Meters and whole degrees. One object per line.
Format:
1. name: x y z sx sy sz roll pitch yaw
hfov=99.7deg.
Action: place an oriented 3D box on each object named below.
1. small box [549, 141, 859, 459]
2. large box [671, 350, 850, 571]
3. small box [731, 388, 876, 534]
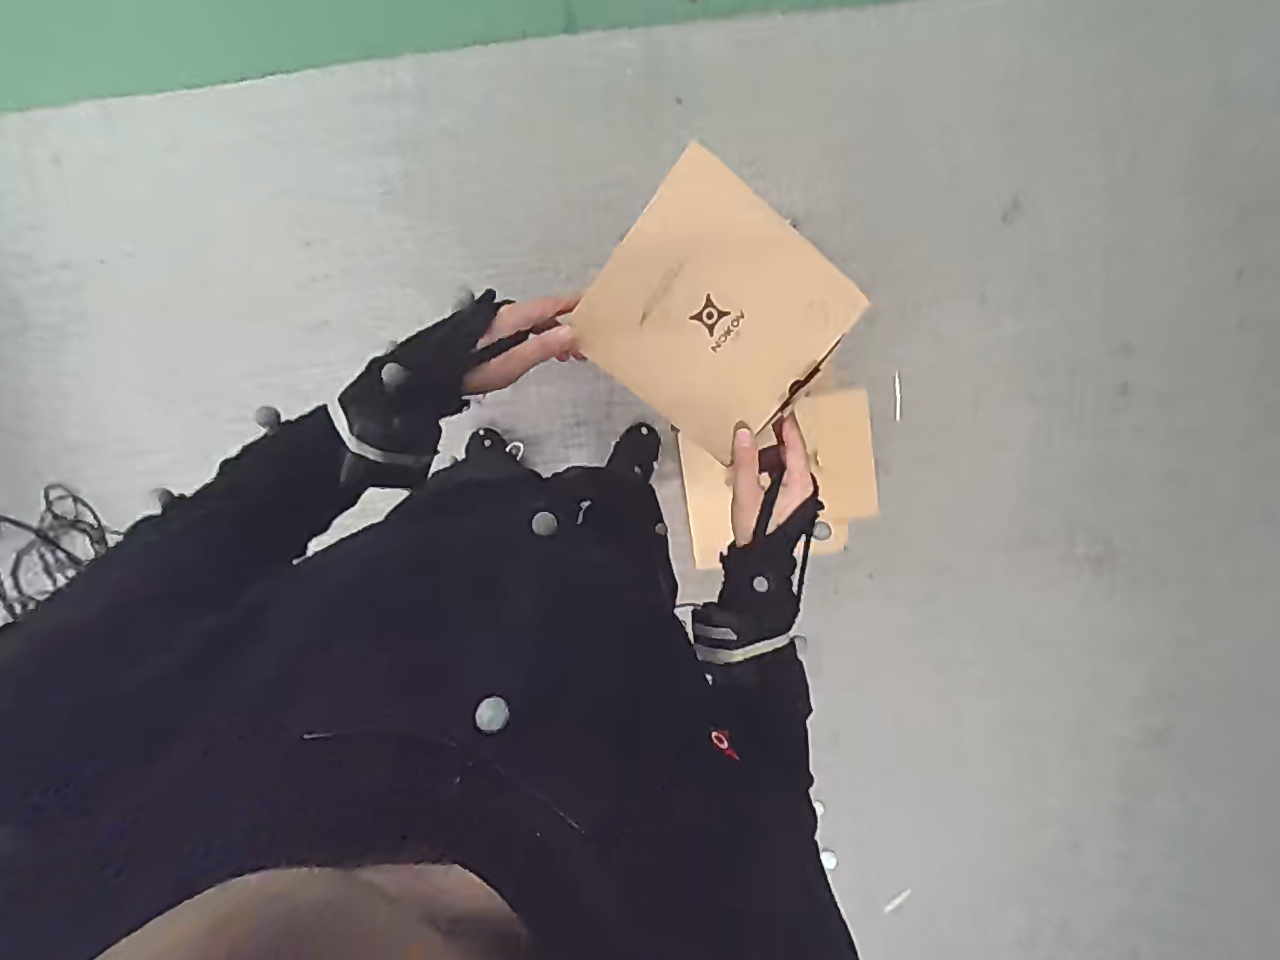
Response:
1. small box: 0.048 -0.149 0.479 0.179 0.176 0.168 35 104 -9
2. large box: 0.240 -0.055 1.200 0.320 0.320 0.408 -8 99 4
3. small box: 0.225 -0.035 0.792 0.168 0.176 0.179 -9 100 3
